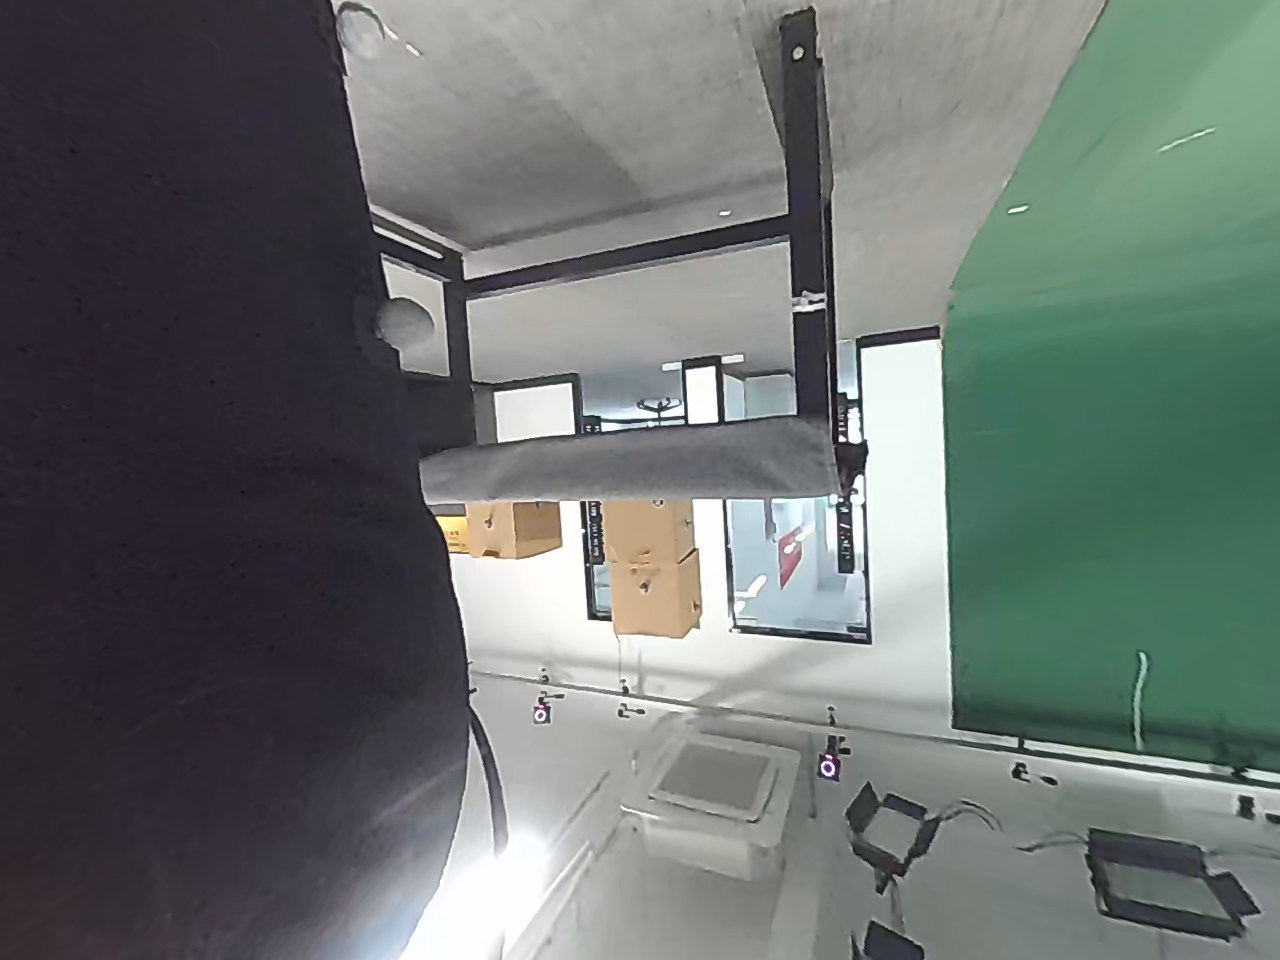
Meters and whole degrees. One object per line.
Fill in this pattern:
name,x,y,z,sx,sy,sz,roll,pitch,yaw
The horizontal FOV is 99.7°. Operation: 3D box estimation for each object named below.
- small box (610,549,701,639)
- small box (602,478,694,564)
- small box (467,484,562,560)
small box,0.040,0.252,1.256,0.168,0.176,0.179,-3,-176,21
small box,0.021,0.090,1.232,0.168,0.176,0.179,-2,-175,19
small box,-0.321,0.104,1.379,0.168,0.176,0.179,-2,-177,31
